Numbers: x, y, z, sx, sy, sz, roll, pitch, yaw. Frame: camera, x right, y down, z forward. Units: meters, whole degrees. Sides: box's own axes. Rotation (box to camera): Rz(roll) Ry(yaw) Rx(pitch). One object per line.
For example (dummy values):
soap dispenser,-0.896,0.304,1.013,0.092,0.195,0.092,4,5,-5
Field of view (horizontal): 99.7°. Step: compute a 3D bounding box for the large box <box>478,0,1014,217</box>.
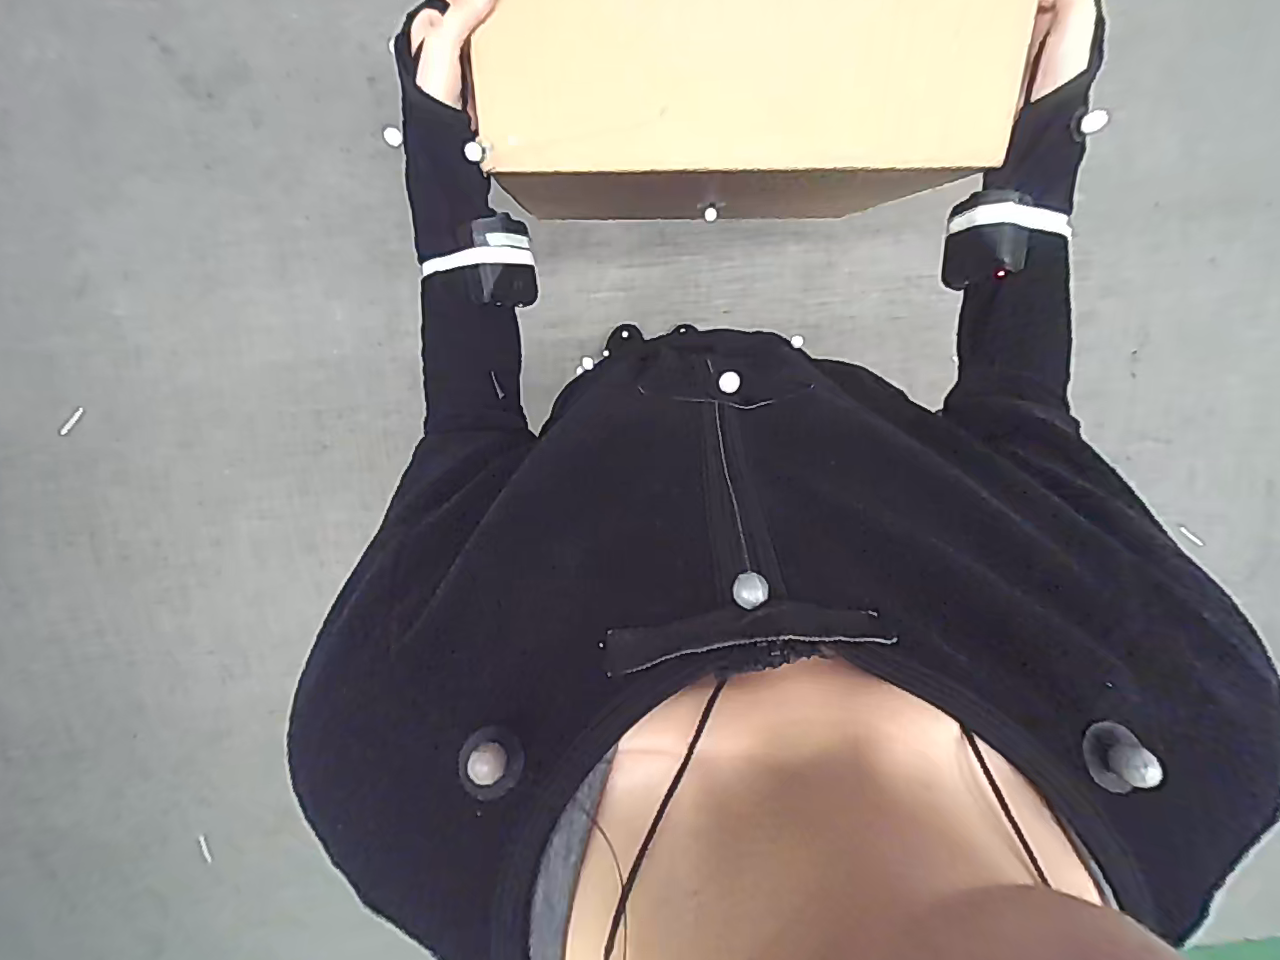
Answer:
large box,0.076,-0.442,0.520,0.408,0.320,0.320,-2,109,-1
